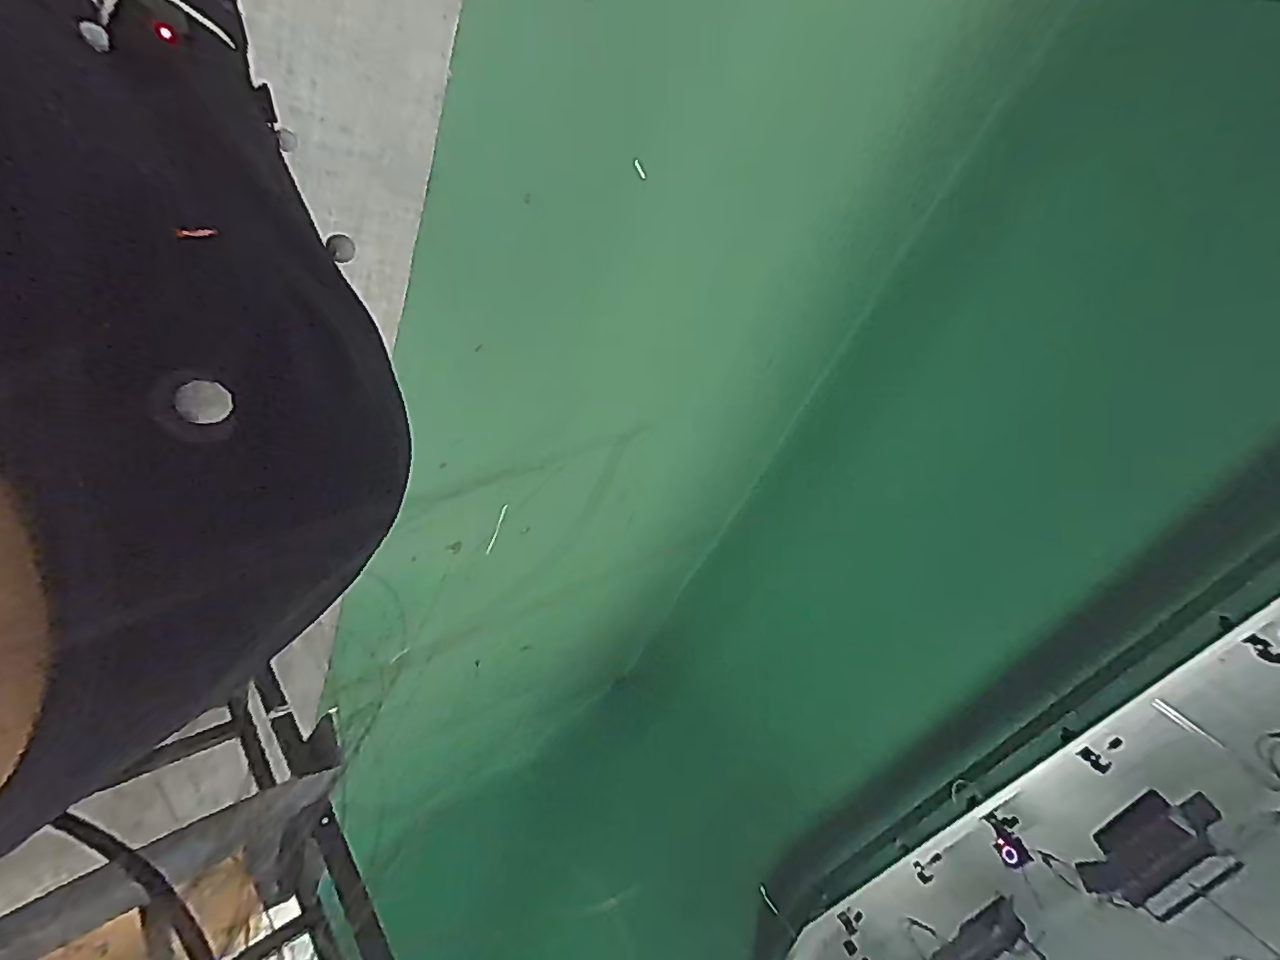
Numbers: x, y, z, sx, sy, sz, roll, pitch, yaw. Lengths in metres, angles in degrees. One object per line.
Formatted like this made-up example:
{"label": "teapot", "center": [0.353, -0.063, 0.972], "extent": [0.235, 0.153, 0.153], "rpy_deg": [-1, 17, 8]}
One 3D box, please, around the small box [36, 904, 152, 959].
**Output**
{"label": "small box", "center": [-1.219, 1.113, 1.219], "extent": [0.168, 0.176, 0.179], "rpy_deg": [-15, 140, -47]}

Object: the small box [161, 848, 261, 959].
{"label": "small box", "center": [-1.079, 1.079, 1.364], "extent": [0.168, 0.176, 0.179], "rpy_deg": [-14, 139, -46]}
